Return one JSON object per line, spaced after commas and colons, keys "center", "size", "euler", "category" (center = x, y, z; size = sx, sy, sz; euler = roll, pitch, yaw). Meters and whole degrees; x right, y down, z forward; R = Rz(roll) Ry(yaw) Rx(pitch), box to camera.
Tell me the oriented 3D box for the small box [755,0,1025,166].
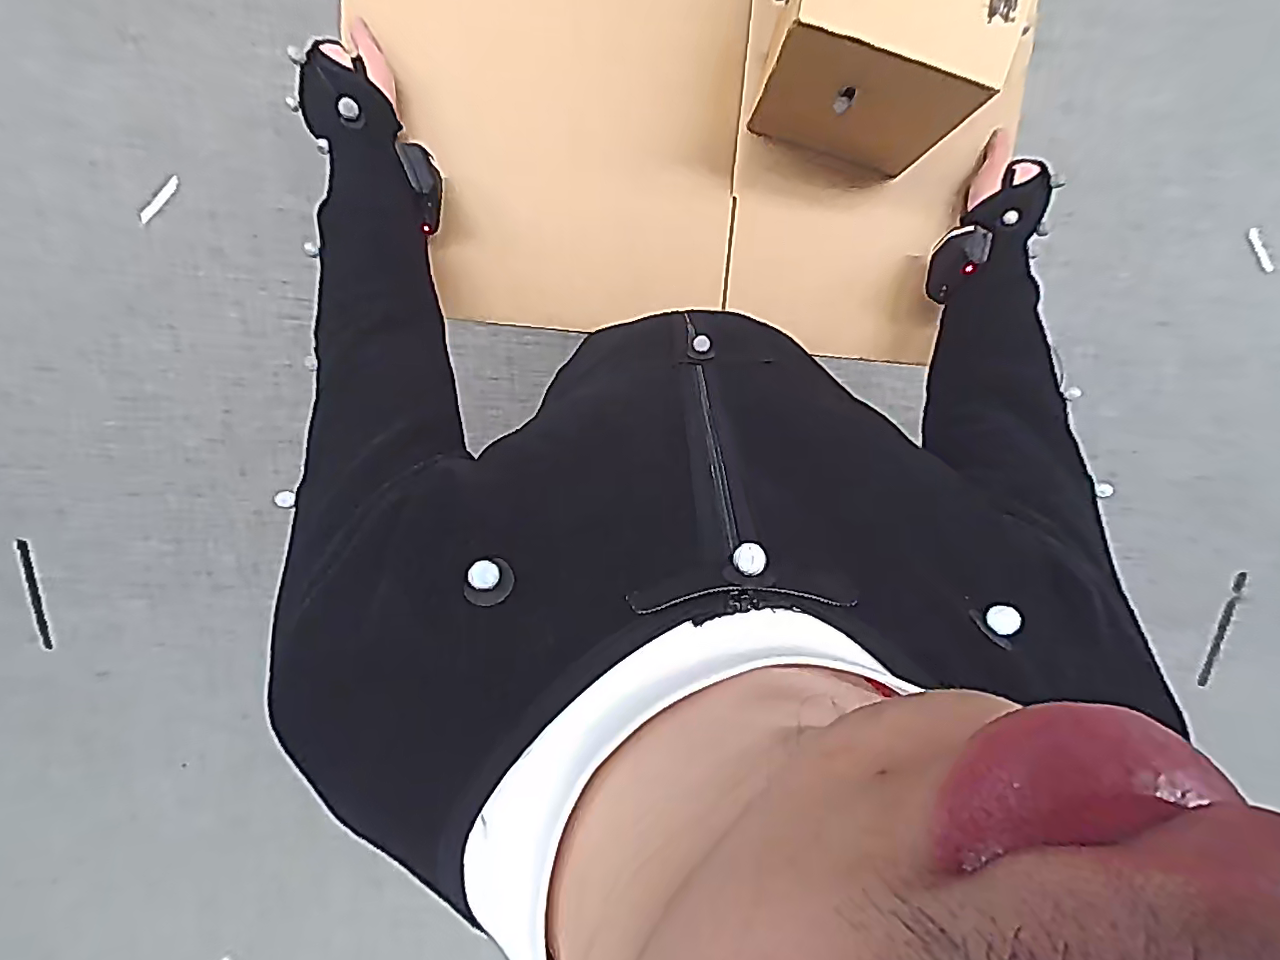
{"center": [0.221, -0.422, 0.495], "size": [0.179, 0.176, 0.168], "euler": [16, 98, -3], "category": "small box"}
